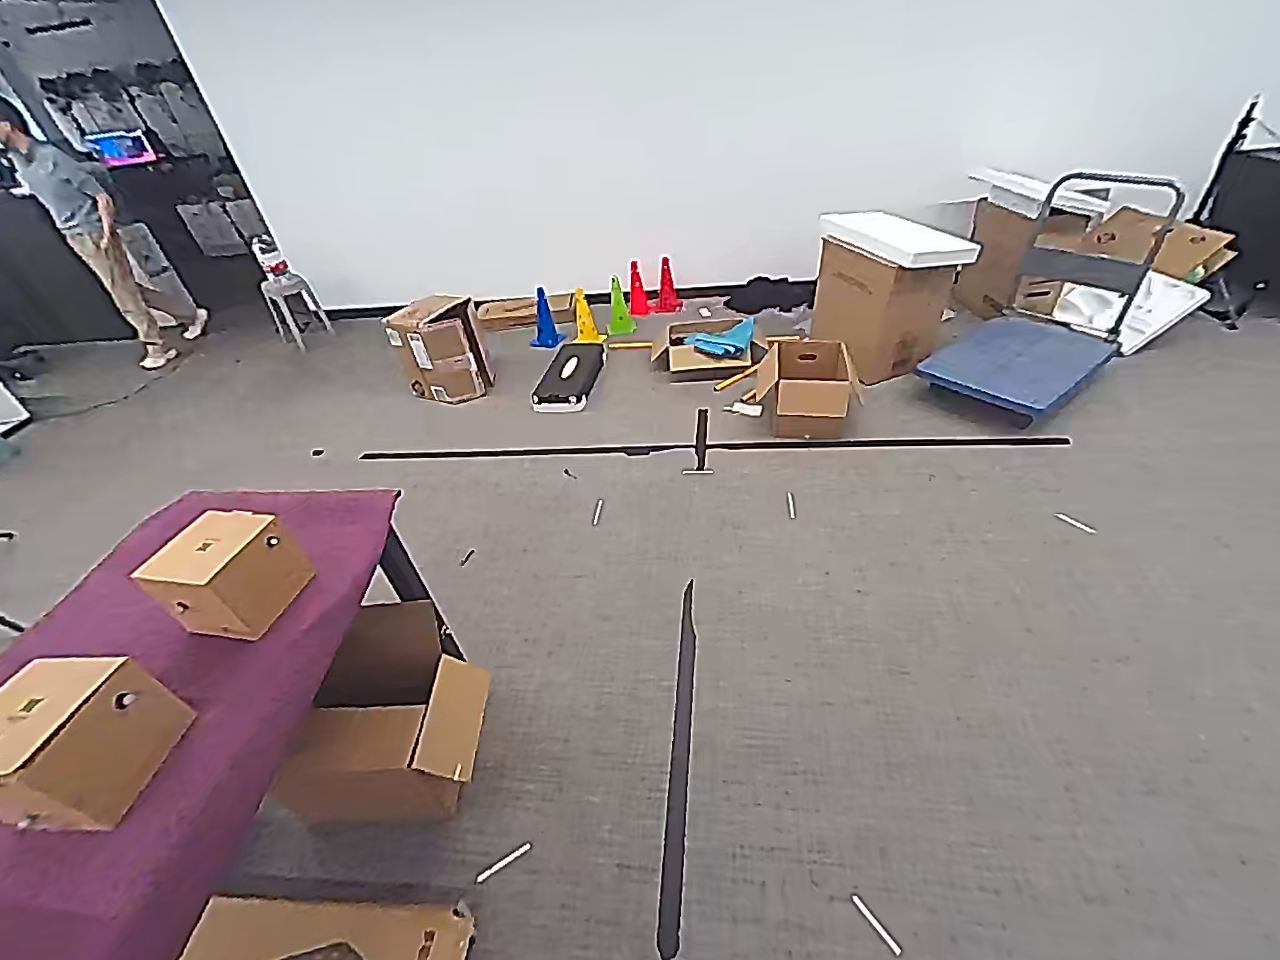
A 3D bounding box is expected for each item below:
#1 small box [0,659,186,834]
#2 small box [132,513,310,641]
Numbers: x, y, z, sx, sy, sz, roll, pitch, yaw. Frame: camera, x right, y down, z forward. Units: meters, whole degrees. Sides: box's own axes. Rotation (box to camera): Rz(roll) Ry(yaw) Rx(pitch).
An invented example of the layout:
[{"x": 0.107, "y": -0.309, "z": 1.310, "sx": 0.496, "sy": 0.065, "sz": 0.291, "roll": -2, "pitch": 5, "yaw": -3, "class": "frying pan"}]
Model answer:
[{"x": -0.824, "y": 0.384, "z": 0.787, "sx": 0.168, "sy": 0.176, "sz": 0.179, "roll": -4, "pitch": 39, "yaw": 8, "class": "small box"}, {"x": -0.778, "y": 0.184, "z": 1.031, "sx": 0.168, "sy": 0.176, "sz": 0.179, "roll": 2, "pitch": 39, "yaw": 12, "class": "small box"}]
